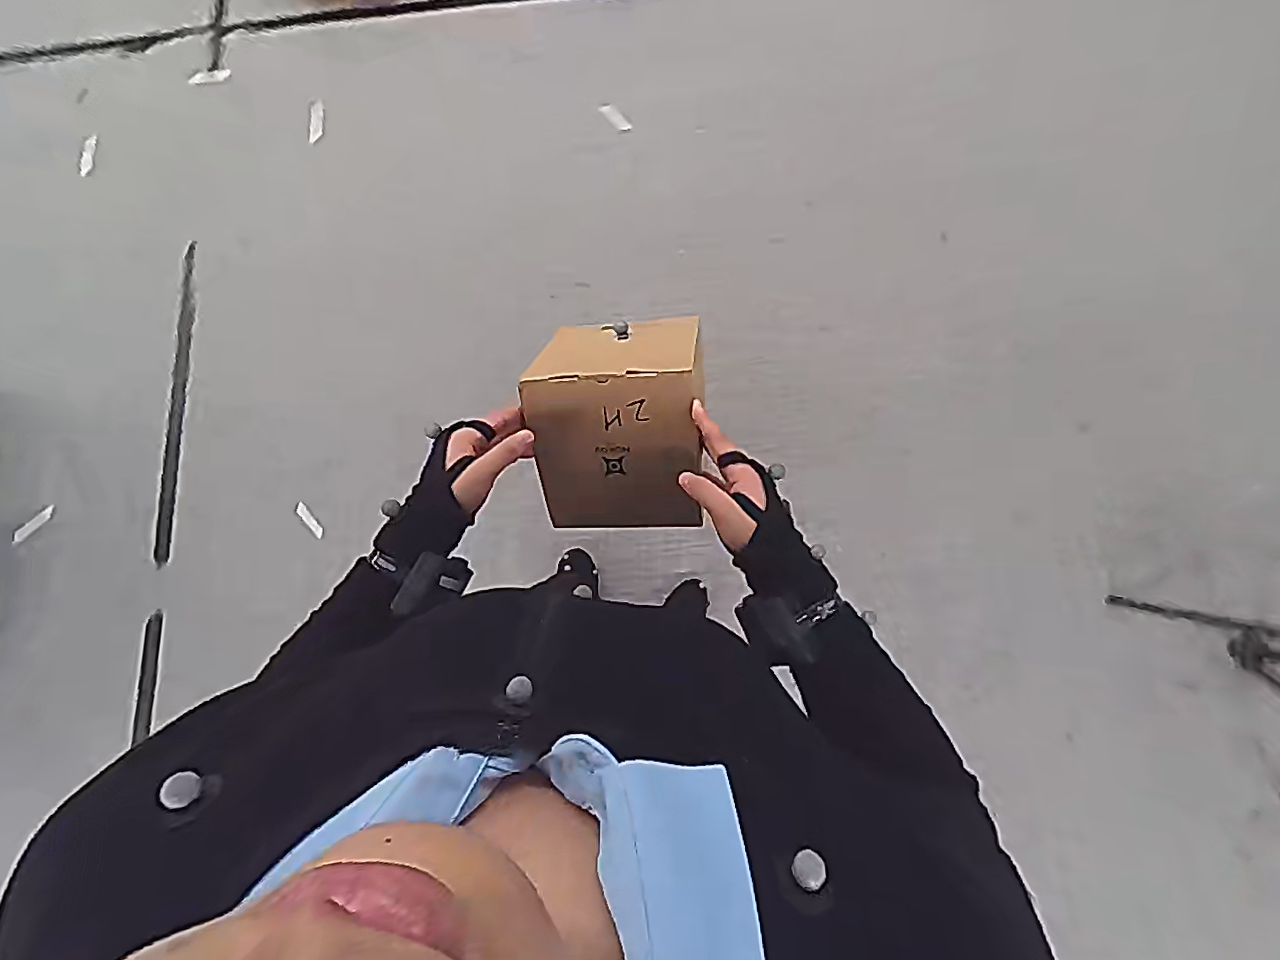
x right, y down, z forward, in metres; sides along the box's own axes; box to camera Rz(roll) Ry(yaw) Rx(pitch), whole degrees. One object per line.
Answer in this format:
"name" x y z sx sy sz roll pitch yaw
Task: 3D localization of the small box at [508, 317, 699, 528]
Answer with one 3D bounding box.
"small box" -0.023 -0.066 0.598 0.168 0.176 0.179 -2 121 9
